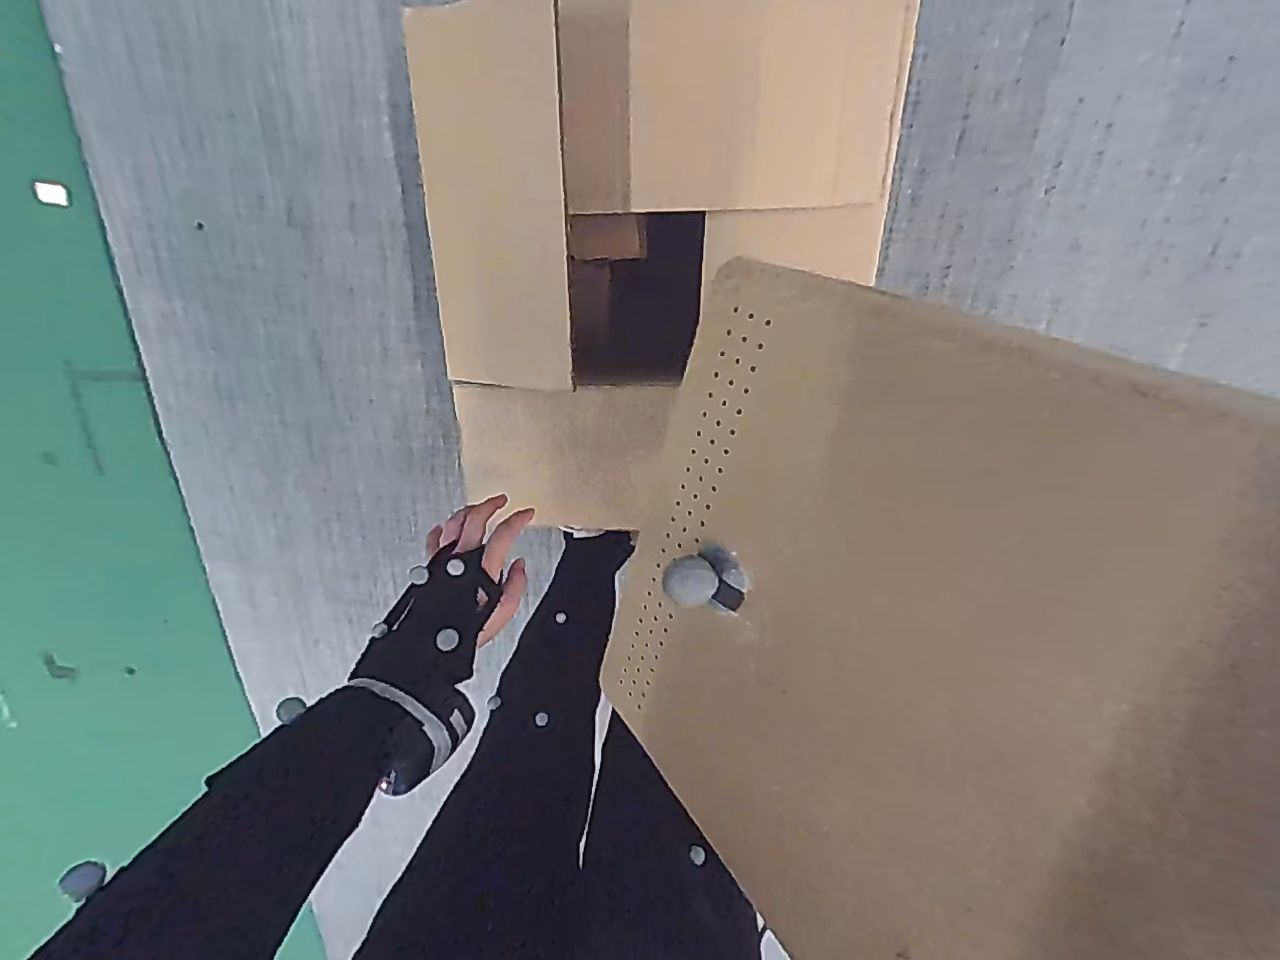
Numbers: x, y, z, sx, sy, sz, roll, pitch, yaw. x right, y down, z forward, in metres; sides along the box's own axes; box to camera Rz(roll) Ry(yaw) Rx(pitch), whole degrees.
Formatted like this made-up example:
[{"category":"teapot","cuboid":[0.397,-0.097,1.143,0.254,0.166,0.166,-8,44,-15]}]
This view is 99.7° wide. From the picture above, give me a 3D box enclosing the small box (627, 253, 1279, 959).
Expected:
[{"category":"small box","cuboid":[0.115,0.039,0.191,0.168,0.176,0.179,-5,122,-37]}]
